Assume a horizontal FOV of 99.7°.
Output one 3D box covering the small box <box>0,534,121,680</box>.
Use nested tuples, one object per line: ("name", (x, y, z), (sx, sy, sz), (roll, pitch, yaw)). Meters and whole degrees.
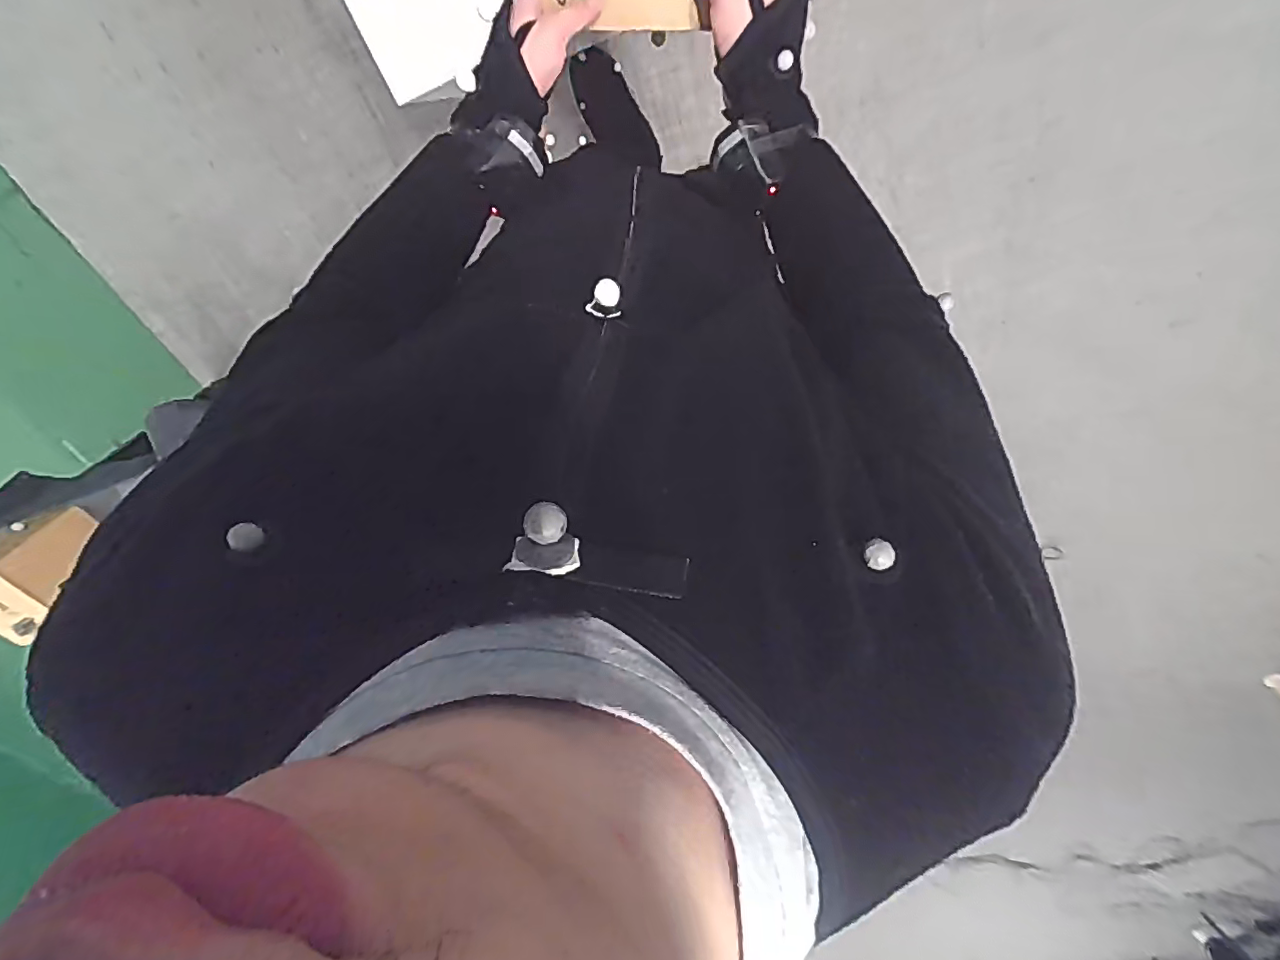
("small box", (-1.097, 0.224, 0.950), (0.168, 0.176, 0.179), (-15, 124, 11))

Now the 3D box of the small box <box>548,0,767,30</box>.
("small box", (0.019, -0.484, 0.447), (0.179, 0.176, 0.168), (4, 130, 2))
